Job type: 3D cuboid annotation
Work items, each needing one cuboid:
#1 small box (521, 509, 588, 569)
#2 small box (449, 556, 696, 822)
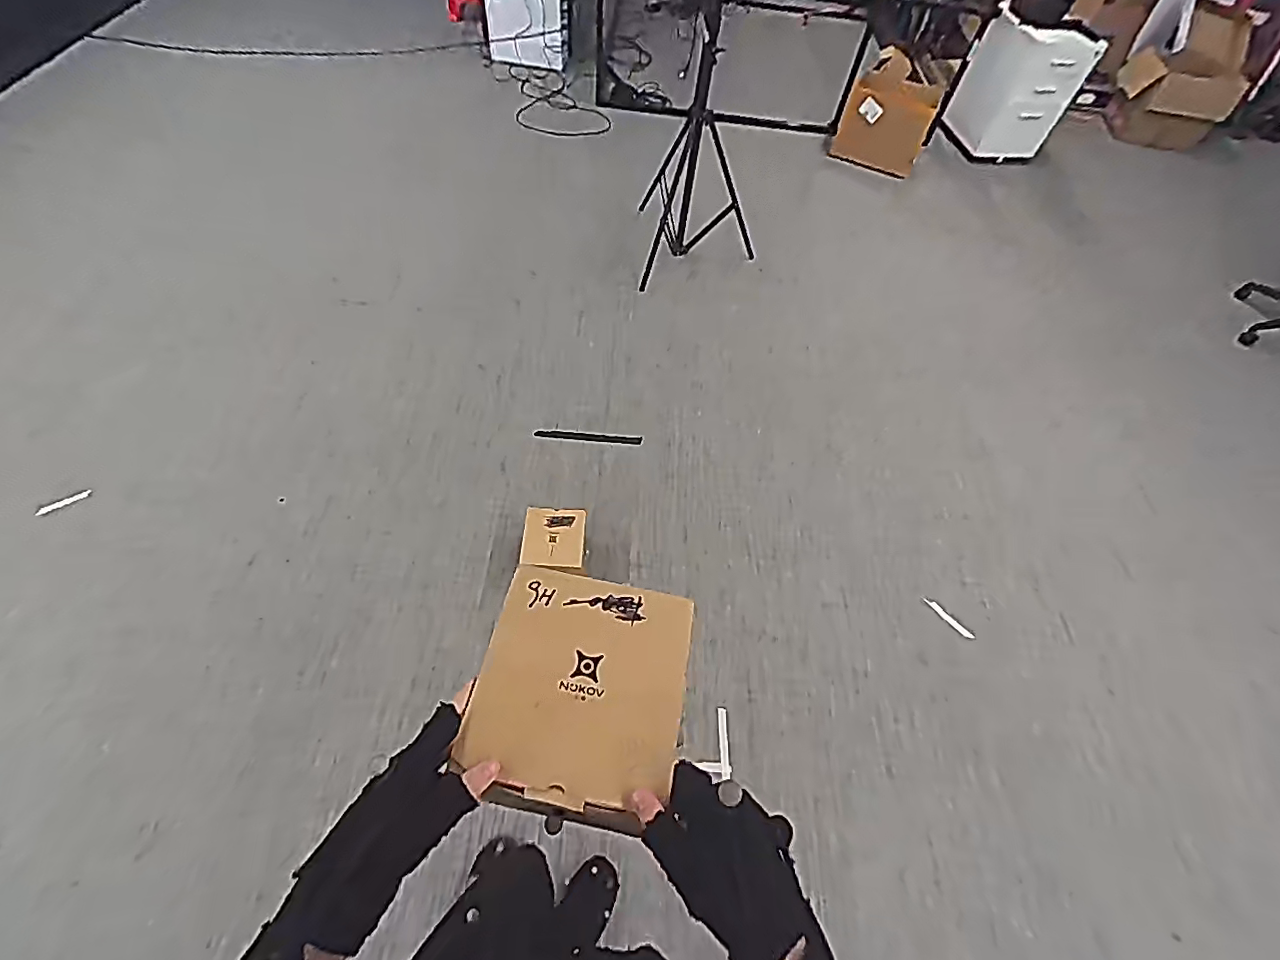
[{"bbox_3d":[-0.238,0.202,1.525,0.168,0.176,0.179,4,57,-3],"label":"small box"},{"bbox_3d":[-0.050,0.198,0.498,0.168,0.176,0.179,11,54,2],"label":"small box"}]
